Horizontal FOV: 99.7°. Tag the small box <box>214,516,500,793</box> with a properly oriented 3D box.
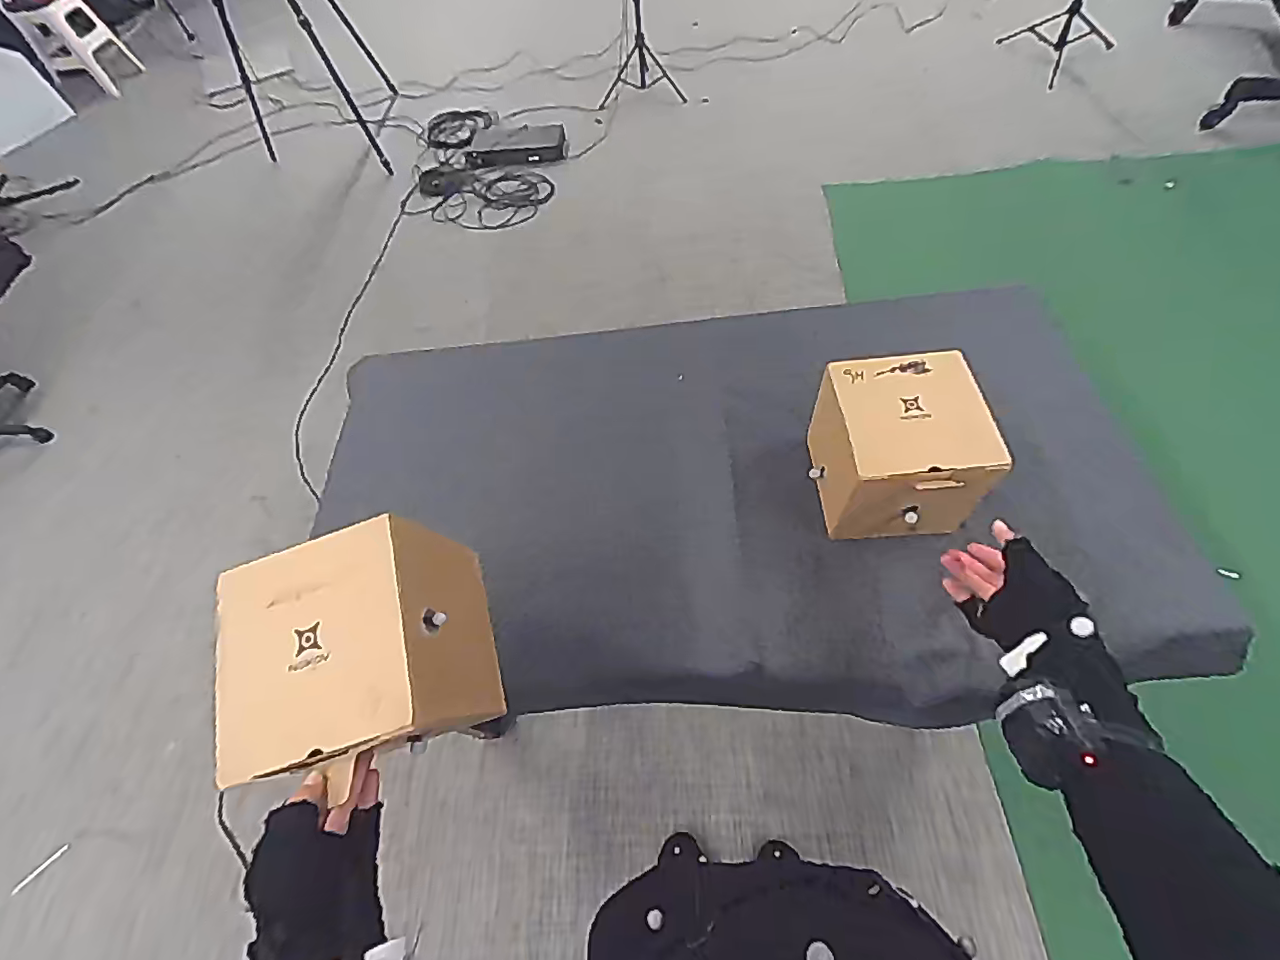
[{"bbox_3d":[-0.247,0.158,0.502,0.168,0.176,0.179,-20,67,3],"label":"small box"}]

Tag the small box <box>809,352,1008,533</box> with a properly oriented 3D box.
[{"bbox_3d":[0.329,-0.038,0.705,0.168,0.176,0.179,-4,60,4],"label":"small box"}]
